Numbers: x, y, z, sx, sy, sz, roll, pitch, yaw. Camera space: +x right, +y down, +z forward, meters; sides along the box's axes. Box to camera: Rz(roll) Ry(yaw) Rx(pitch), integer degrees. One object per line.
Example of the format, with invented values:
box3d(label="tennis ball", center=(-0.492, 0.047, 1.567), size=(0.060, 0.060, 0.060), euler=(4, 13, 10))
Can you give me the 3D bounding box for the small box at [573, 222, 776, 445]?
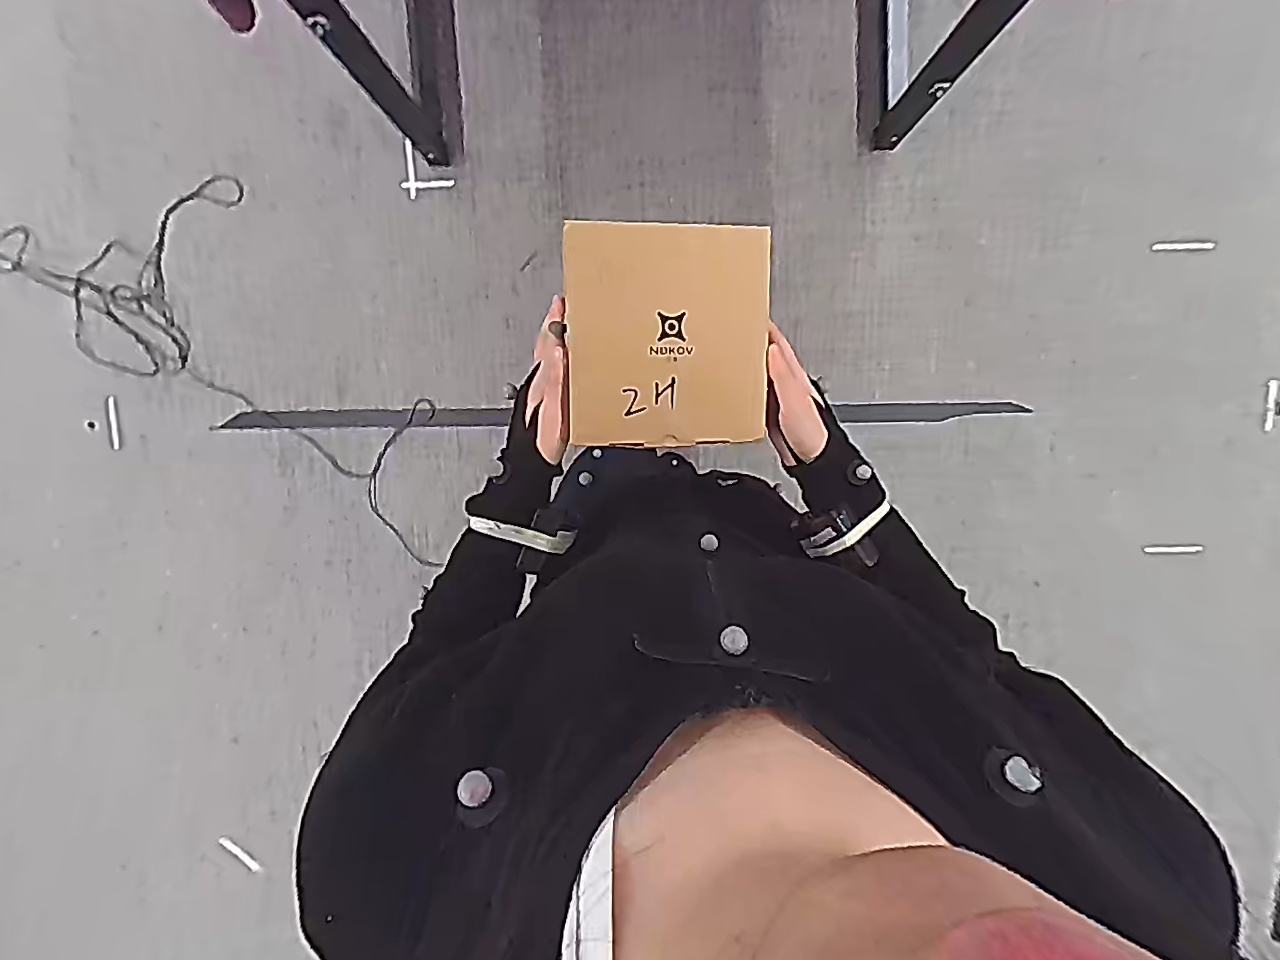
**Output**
box3d(label="small box", center=(0.020, -0.126, 0.518), size=(0.168, 0.176, 0.179), euler=(-1, 98, -6))
